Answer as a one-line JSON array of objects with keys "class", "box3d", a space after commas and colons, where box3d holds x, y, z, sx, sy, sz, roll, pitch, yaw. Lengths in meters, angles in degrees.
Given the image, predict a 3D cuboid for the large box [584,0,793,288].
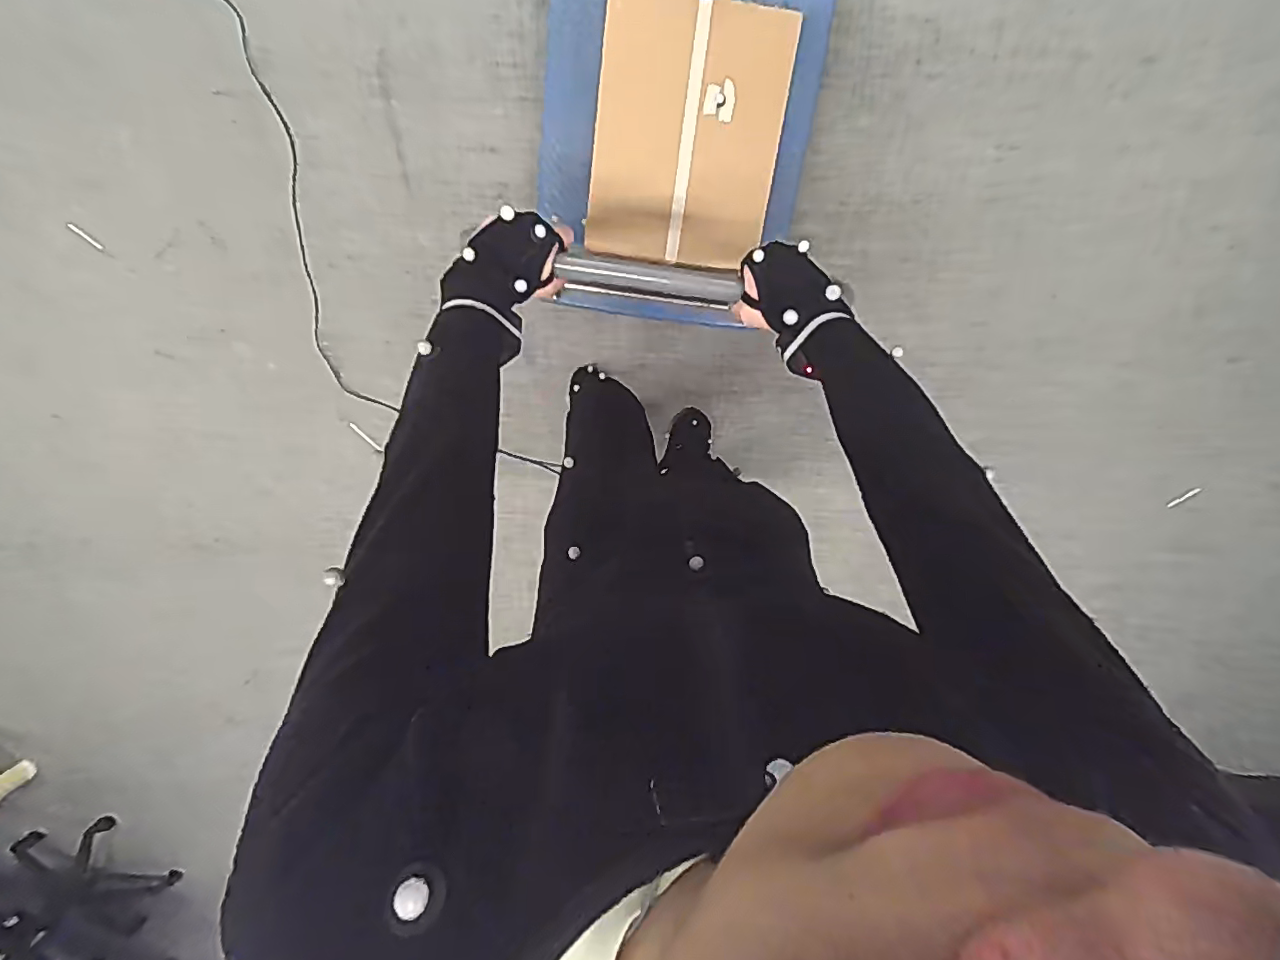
[{"class": "large box", "box3d": [0.078, -0.611, 1.067, 0.320, 0.320, 0.408, 8, 107, -1]}]
